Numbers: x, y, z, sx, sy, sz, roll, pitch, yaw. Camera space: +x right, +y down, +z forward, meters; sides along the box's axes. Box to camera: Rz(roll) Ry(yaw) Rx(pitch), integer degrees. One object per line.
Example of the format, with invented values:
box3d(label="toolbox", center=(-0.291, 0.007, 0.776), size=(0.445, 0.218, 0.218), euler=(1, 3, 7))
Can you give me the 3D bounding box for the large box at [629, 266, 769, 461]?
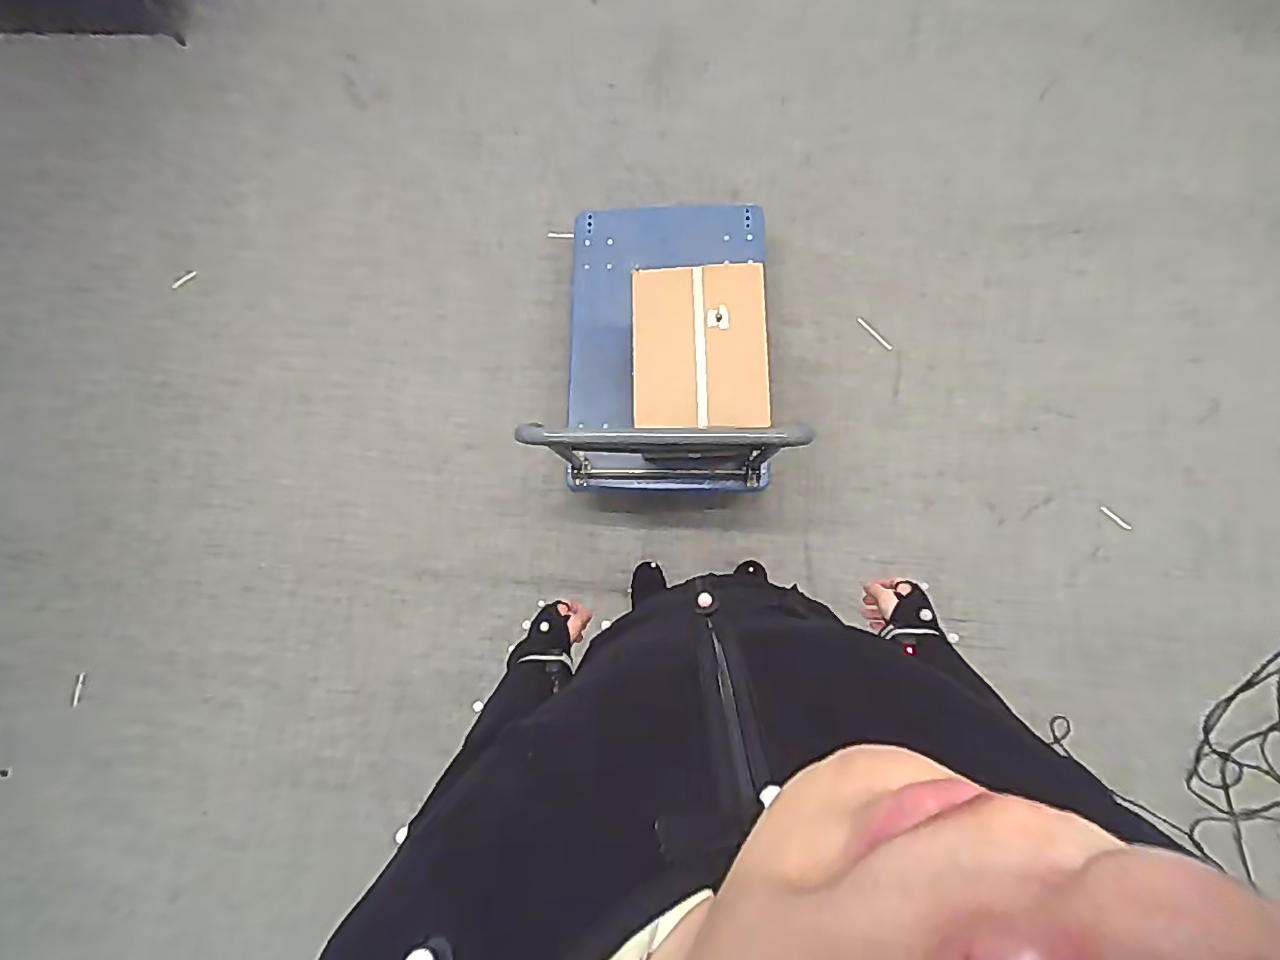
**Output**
box3d(label="large box", center=(0.143, -0.280, 1.398), size=(0.320, 0.320, 0.408), euler=(-1, 80, 3))
